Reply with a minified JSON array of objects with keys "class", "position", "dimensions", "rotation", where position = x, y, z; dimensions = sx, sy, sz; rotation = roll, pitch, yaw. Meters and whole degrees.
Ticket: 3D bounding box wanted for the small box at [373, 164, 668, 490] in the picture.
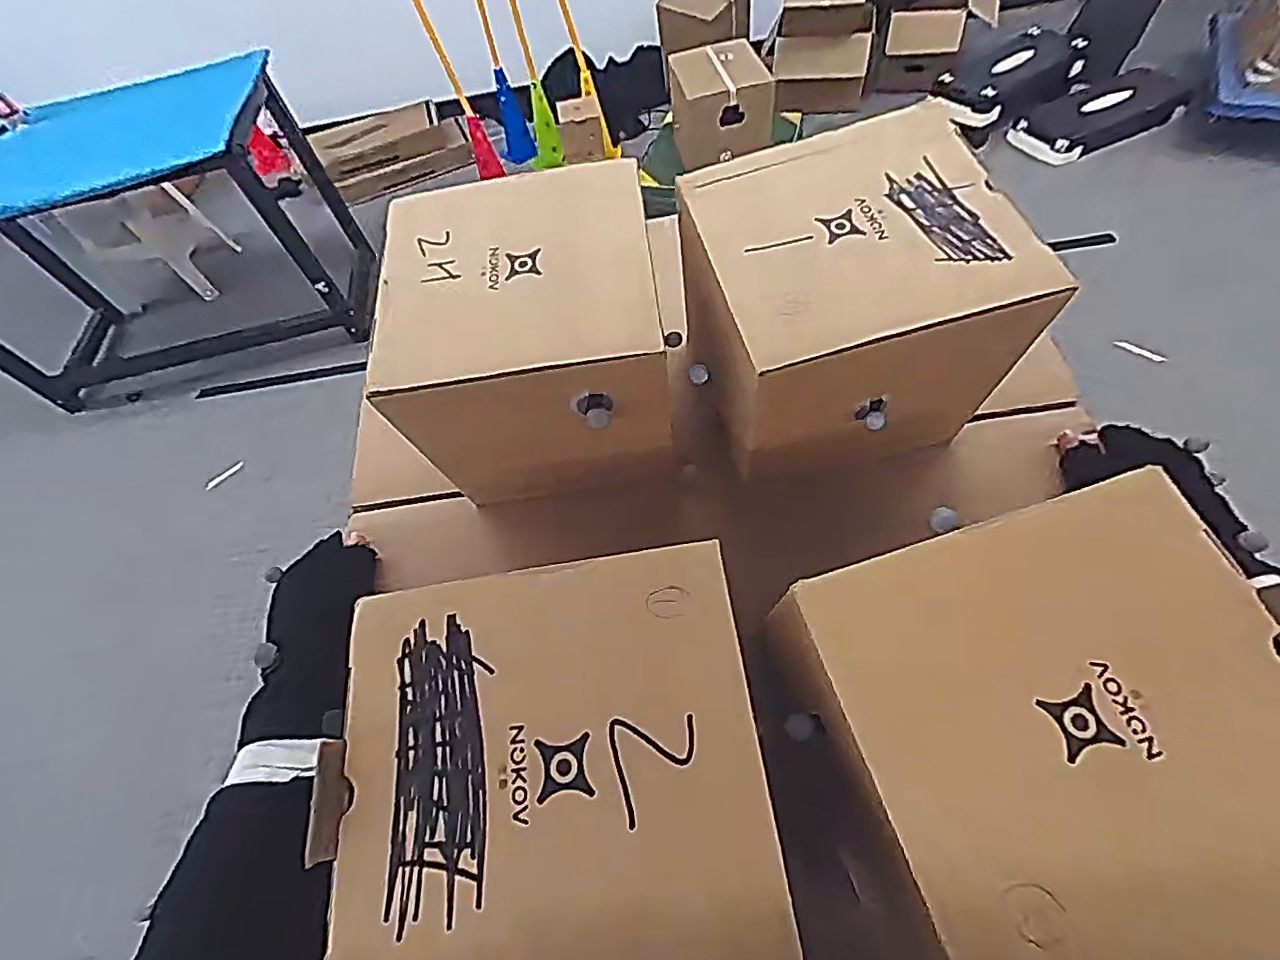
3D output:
[{"class":"small box","position":[-0.072,-0.105,0.423],"dimensions":[0.179,0.176,0.168],"rotation":[-7,64,4]}]
